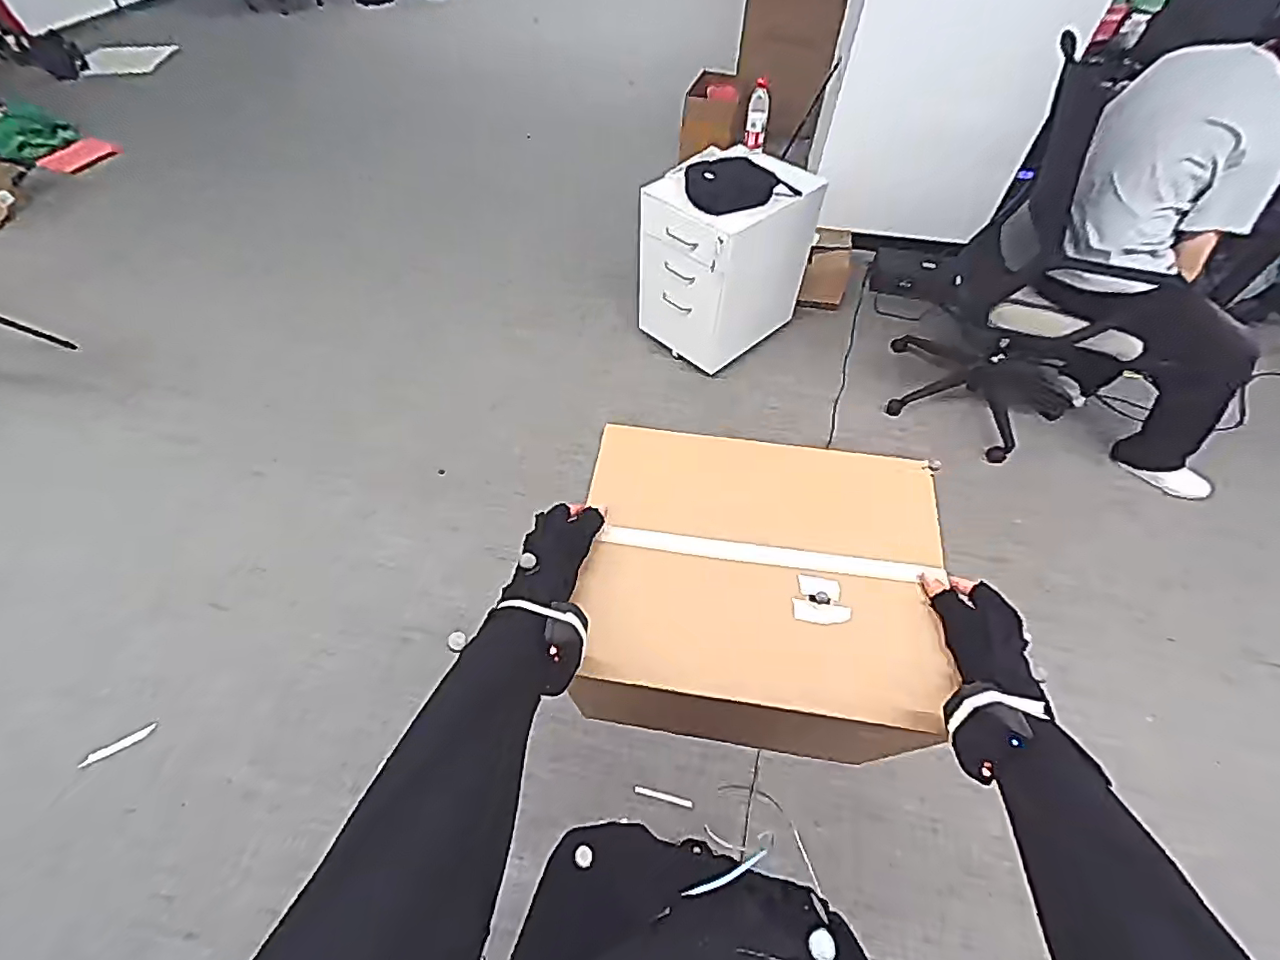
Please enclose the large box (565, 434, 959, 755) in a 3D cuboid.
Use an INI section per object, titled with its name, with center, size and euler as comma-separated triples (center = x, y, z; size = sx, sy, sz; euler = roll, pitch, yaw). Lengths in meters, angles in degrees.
[large box]
center = 0.138, 0.166, 0.743
size = 0.408, 0.320, 0.320
euler = 8, 60, 6
